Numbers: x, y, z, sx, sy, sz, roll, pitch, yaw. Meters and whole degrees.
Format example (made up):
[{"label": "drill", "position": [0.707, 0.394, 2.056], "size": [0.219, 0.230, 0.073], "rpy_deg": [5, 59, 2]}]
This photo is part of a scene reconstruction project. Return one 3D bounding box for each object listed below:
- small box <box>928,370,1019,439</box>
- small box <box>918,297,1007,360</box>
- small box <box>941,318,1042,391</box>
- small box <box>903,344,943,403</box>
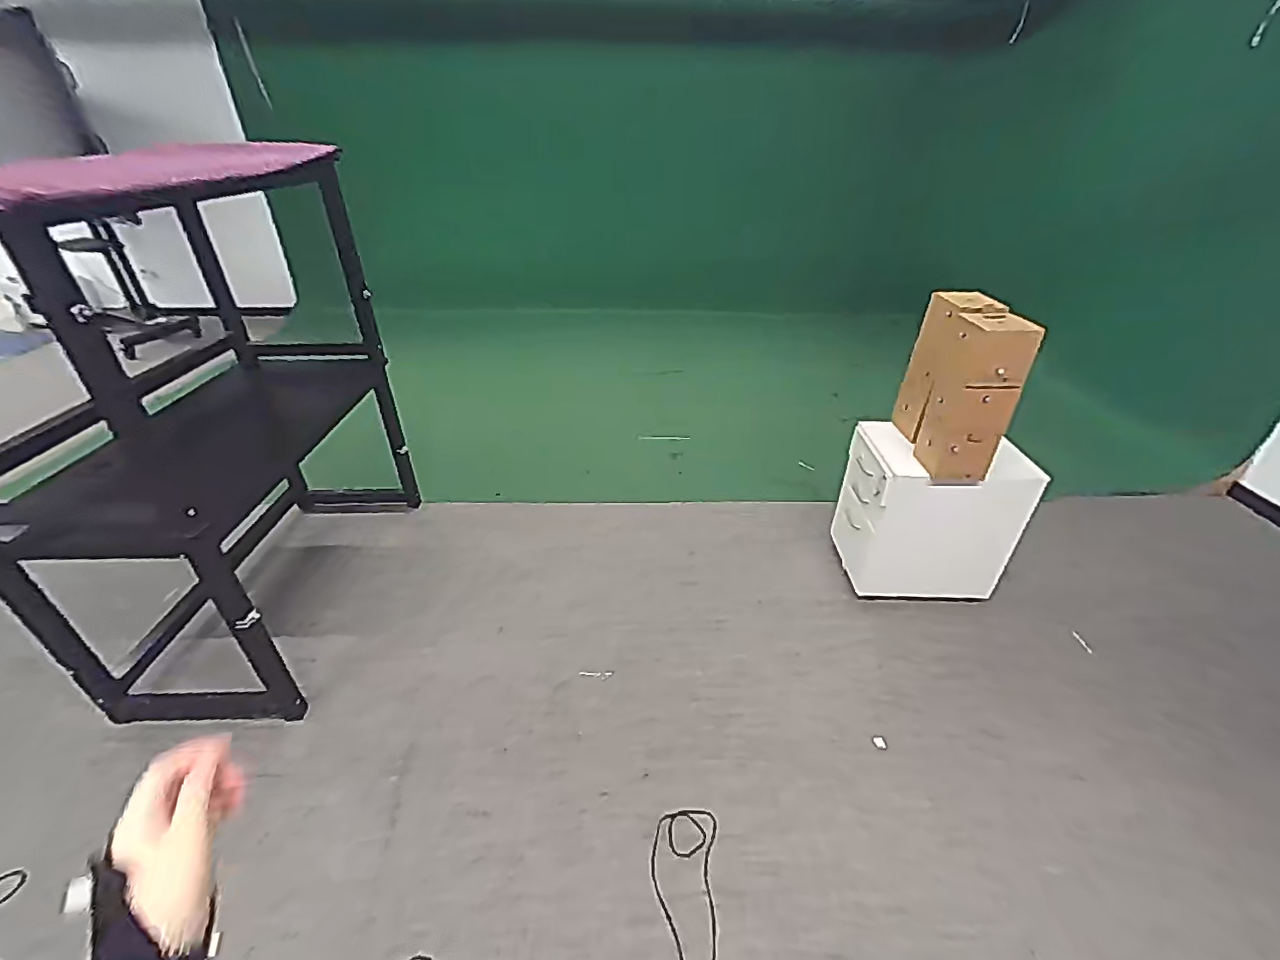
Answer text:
[{"label": "small box", "position": [1.034, -0.238, 1.697], "size": [0.179, 0.176, 0.168], "rpy_deg": [1, 32, 0]}, {"label": "small box", "position": [1.072, -0.507, 1.816], "size": [0.168, 0.176, 0.179], "rpy_deg": [-1, 35, -4]}, {"label": "small box", "position": [1.031, -0.374, 1.605], "size": [0.168, 0.176, 0.179], "rpy_deg": [0, 32, 0]}, {"label": "small box", "position": [1.064, -0.371, 1.906], "size": [0.168, 0.176, 0.179], "rpy_deg": [-1, 34, -5]}]
